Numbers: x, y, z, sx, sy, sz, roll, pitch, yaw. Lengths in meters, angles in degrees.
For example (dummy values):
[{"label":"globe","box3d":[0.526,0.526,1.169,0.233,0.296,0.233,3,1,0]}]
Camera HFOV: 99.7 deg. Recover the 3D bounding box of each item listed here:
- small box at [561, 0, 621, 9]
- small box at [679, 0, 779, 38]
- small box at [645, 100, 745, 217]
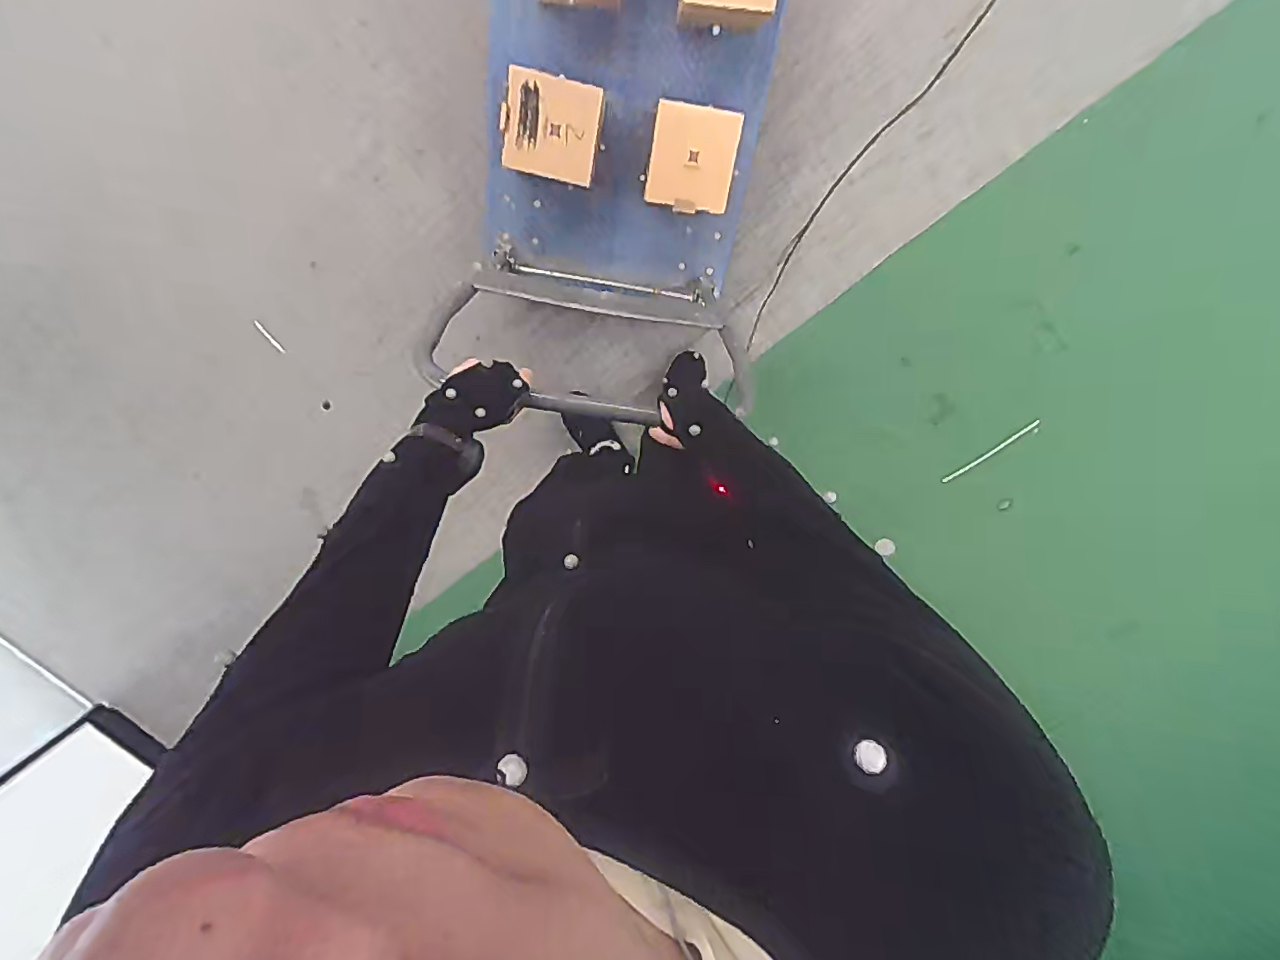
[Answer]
[{"label":"small box","box3d":[-0.108,-0.964,0.948,0.168,0.176,0.179,4,118,-4]},{"label":"small box","box3d":[0.166,-0.933,0.971,0.168,0.176,0.179,5,119,-3]},{"label":"small box","box3d":[0.104,-0.659,1.121,0.168,0.176,0.179,8,119,-5]}]
